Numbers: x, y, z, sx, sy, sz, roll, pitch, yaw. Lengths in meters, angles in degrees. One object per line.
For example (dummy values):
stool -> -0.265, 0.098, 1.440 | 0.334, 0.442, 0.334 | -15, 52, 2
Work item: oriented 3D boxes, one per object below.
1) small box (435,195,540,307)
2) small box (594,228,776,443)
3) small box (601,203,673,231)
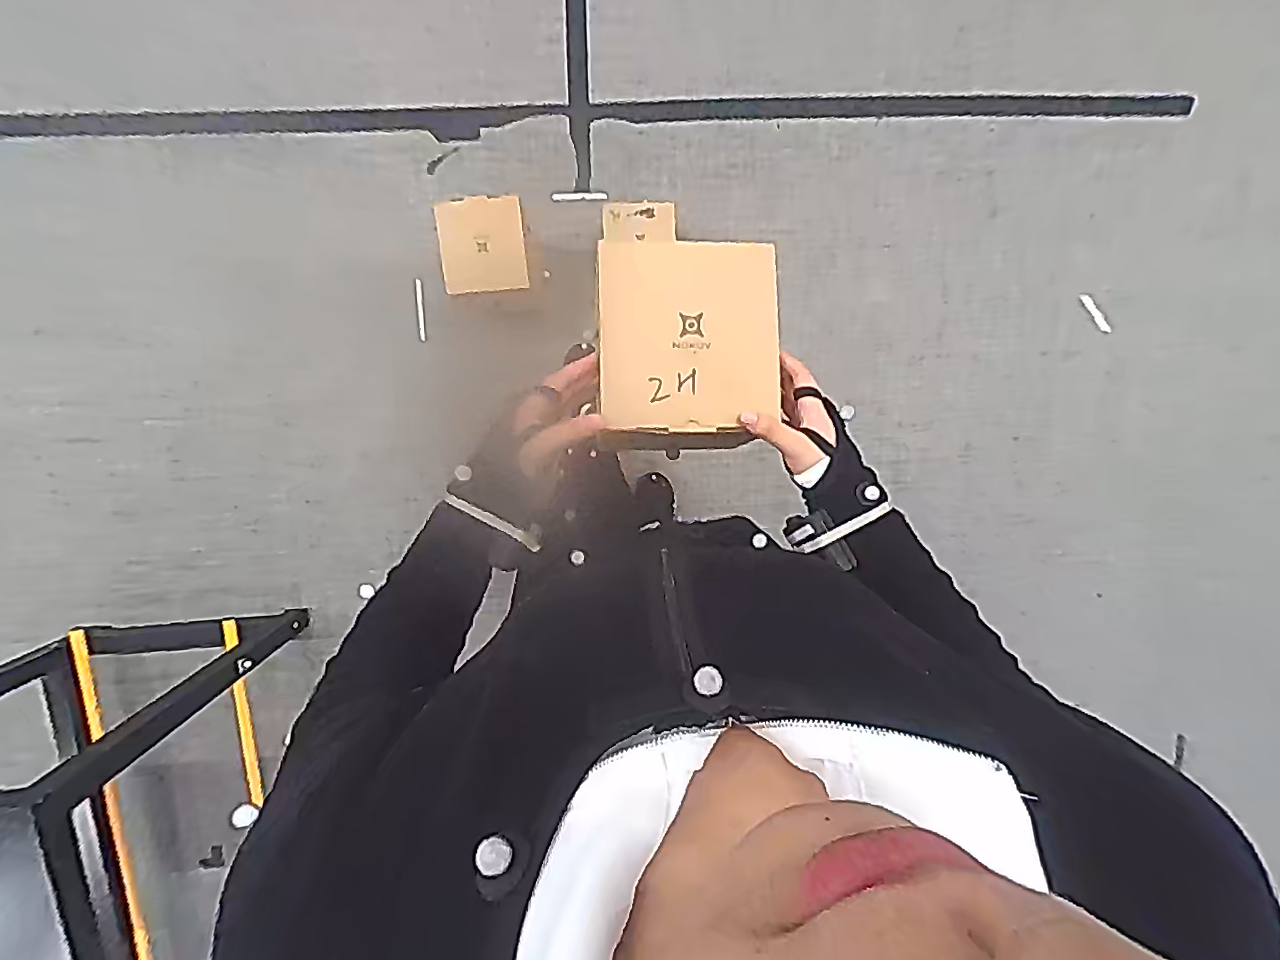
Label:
small box -> -0.310, -0.470, 1.133 | 0.168, 0.176, 0.179 | -6, 101, -1
small box -> 0.035, -0.137, 0.570 | 0.168, 0.176, 0.179 | -1, 87, -5
small box -> -0.008, -0.550, 1.307 | 0.168, 0.176, 0.179 | -3, 100, -3
